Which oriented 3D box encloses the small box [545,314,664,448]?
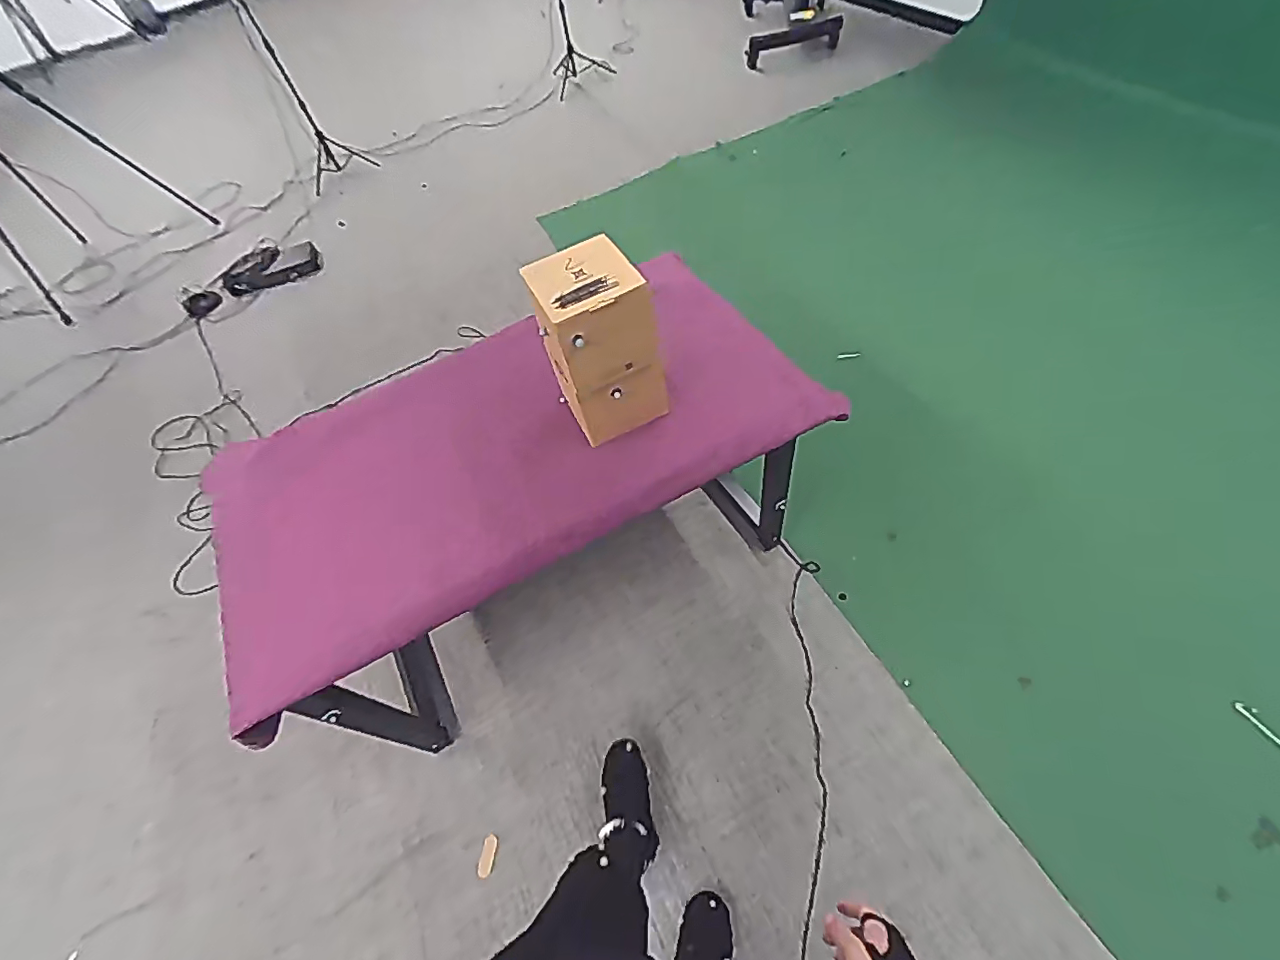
[{"bbox_3d":[-0.066,-0.195,1.093,0.179,0.176,0.168,-26,56,-9],"label":"small box"}]
